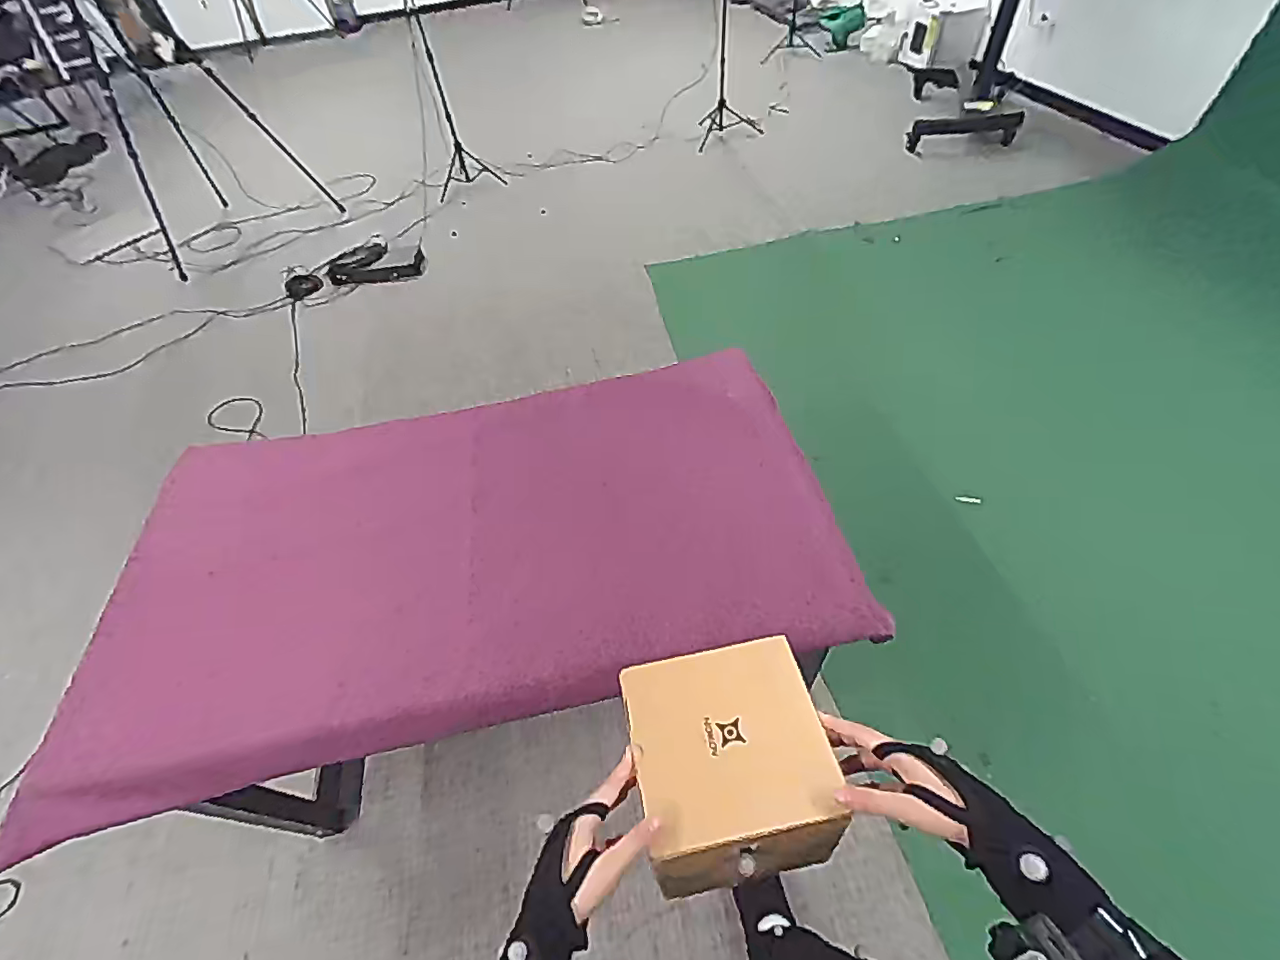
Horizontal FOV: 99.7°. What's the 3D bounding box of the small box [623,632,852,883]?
[{"bbox_3d":[0.087,0.284,0.552,0.179,0.176,0.168,-12,44,-2],"label":"small box"}]
